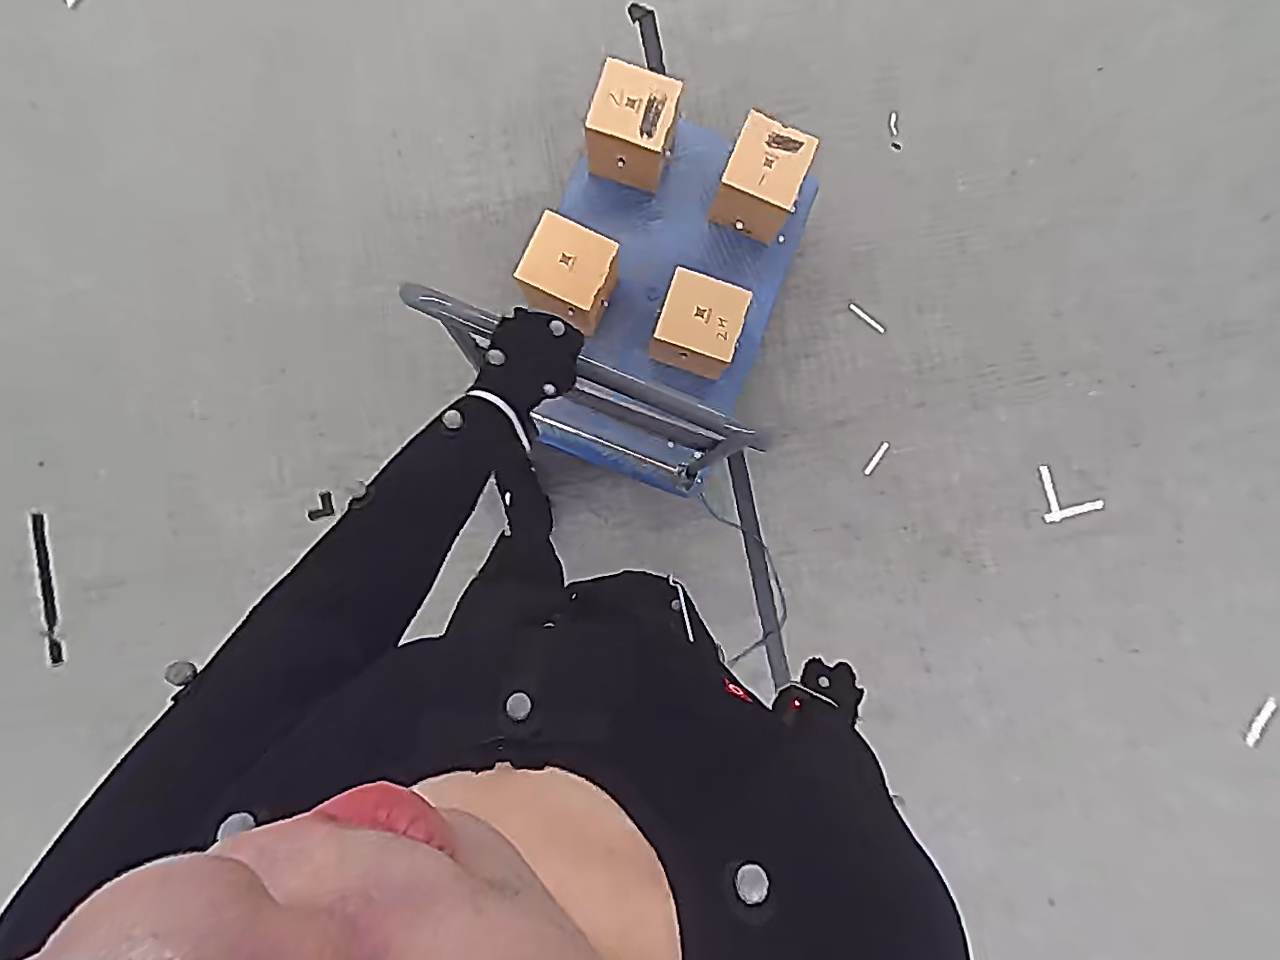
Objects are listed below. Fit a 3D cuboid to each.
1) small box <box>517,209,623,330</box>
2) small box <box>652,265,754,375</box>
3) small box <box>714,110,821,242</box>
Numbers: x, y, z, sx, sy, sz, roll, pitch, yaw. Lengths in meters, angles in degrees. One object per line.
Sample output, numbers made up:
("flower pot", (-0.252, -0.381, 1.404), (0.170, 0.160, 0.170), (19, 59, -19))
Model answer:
("small box", (-0.154, -0.464, 1.222), (0.179, 0.176, 0.168), (25, 86, -3))
("small box", (0.135, -0.353, 1.232), (0.179, 0.176, 0.168), (19, 88, -2))
("small box", (0.284, -0.692, 1.250), (0.168, 0.176, 0.179), (23, 88, -2))
